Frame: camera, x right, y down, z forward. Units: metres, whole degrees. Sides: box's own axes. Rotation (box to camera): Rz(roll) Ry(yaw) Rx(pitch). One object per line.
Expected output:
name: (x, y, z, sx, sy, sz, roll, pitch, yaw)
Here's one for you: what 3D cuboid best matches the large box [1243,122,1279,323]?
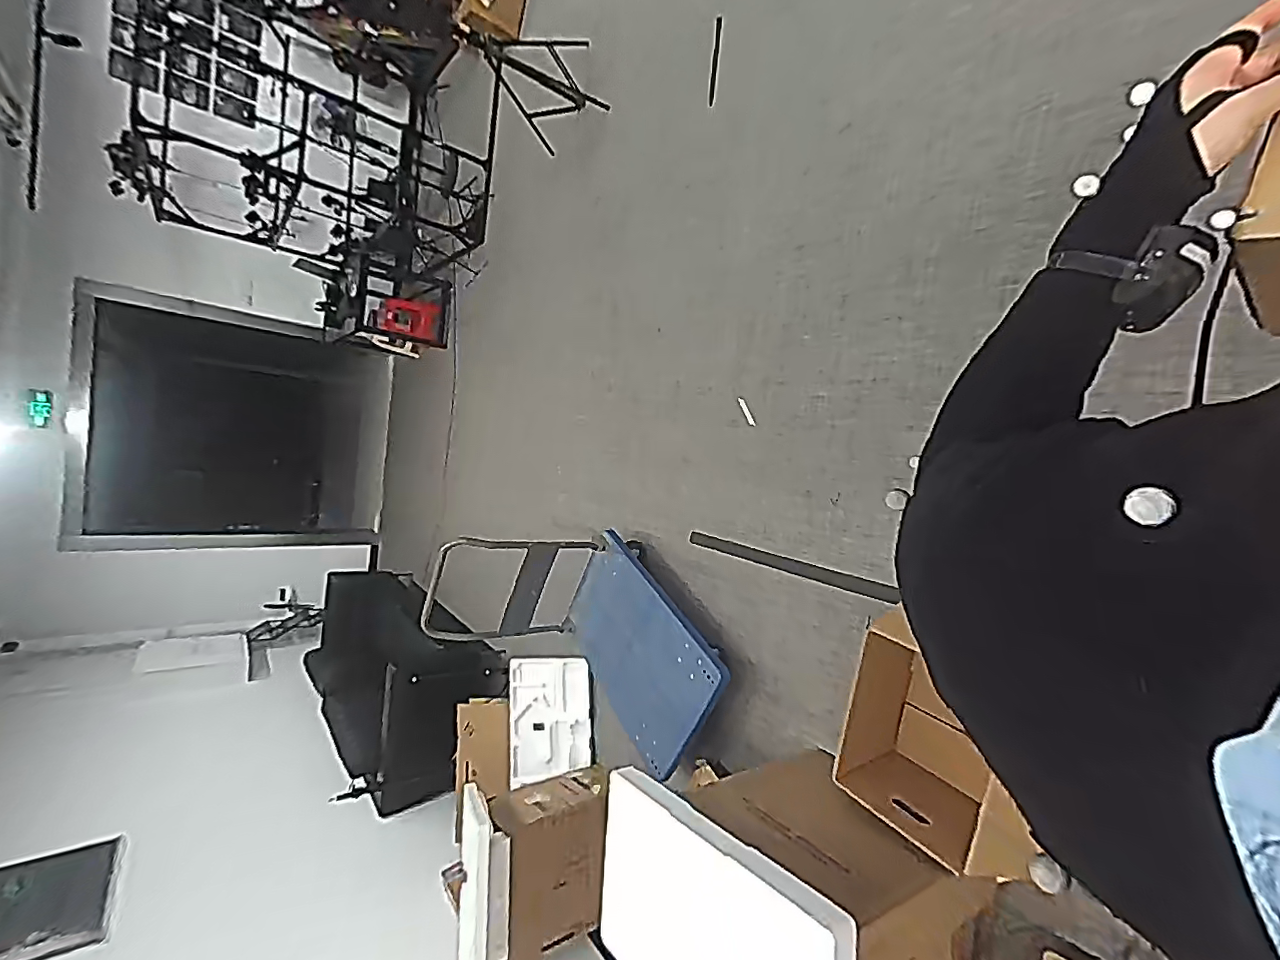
large box: (0.690, -0.262, 0.296, 0.408, 0.320, 0.320, 23, 103, 52)
